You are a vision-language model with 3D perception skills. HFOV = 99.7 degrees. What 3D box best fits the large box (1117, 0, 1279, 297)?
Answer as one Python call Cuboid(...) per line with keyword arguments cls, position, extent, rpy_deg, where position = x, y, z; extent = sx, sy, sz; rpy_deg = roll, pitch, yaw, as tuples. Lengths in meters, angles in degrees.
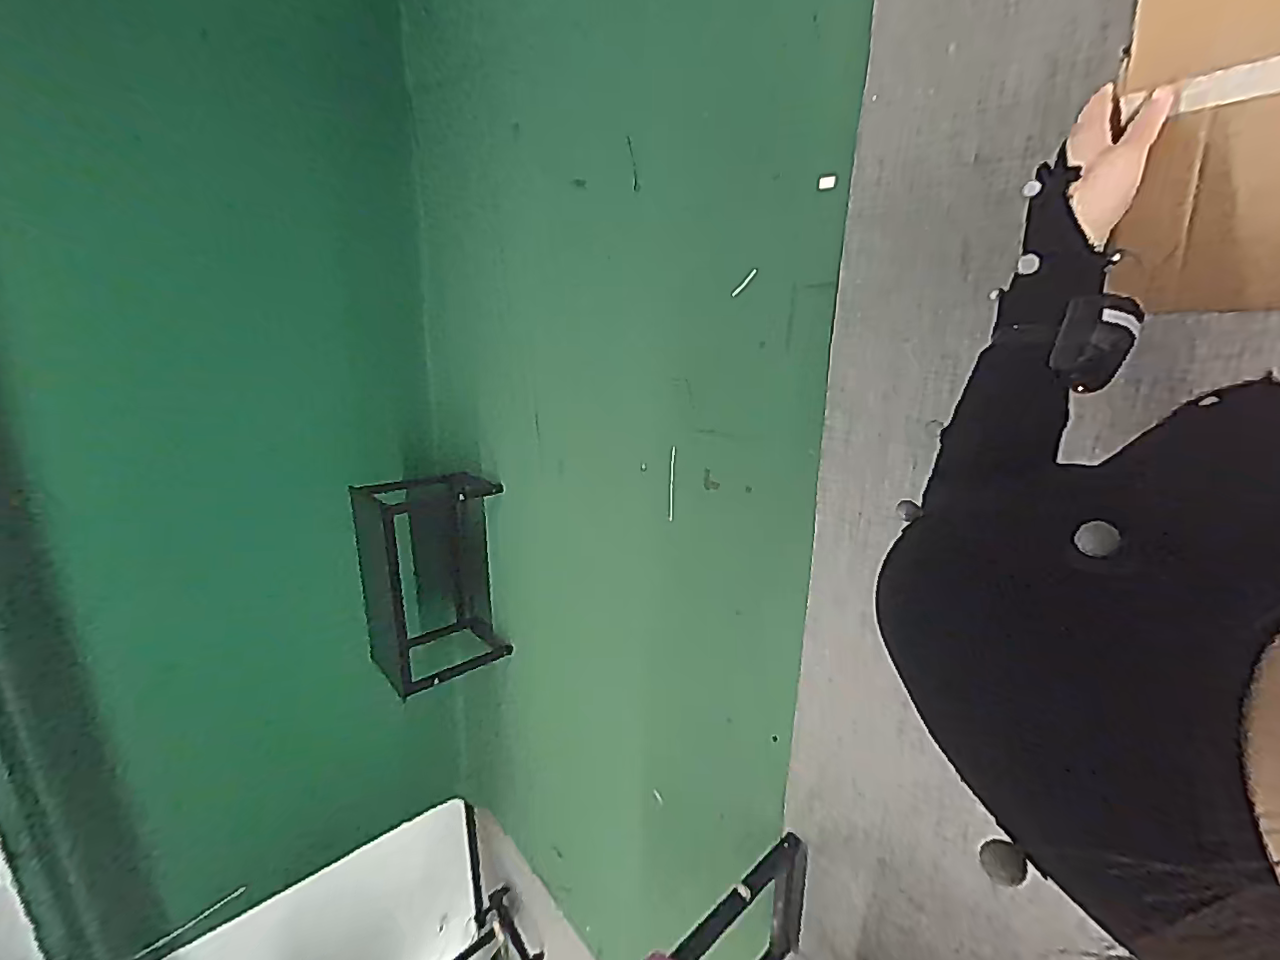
Cuboid(cls="large box", position=(0.612, -0.323, 0.341), extent=(0.408, 0.320, 0.320), rpy_deg=(16, 128, 48))
